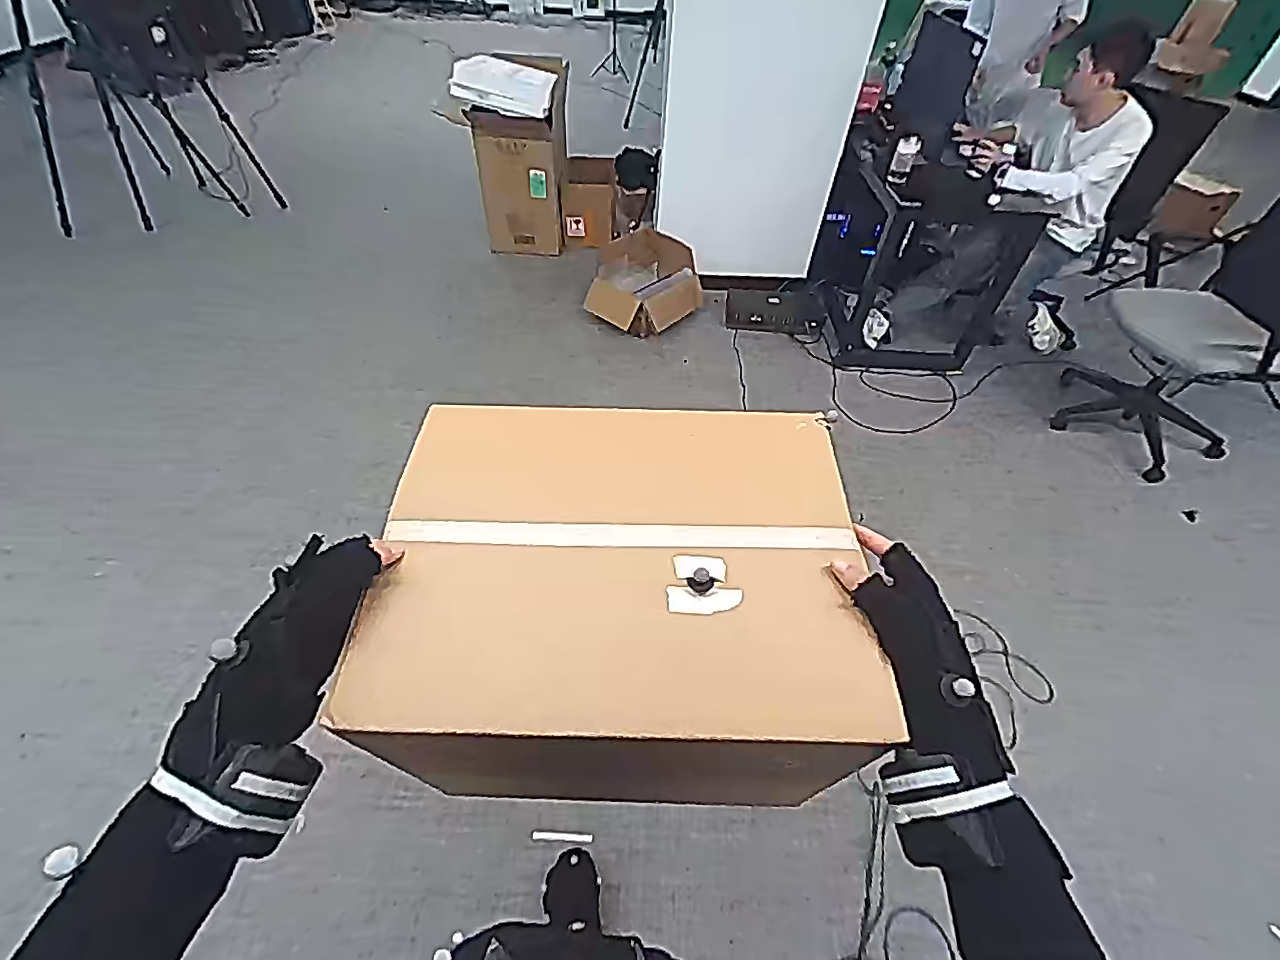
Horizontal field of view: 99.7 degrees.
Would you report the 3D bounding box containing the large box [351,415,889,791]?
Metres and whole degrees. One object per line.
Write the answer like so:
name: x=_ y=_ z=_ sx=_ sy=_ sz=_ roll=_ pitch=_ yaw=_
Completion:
large box: x=-0.016 y=0.145 z=0.600 sx=0.408 sy=0.320 sz=0.320 roll=2 pitch=52 yaw=0
